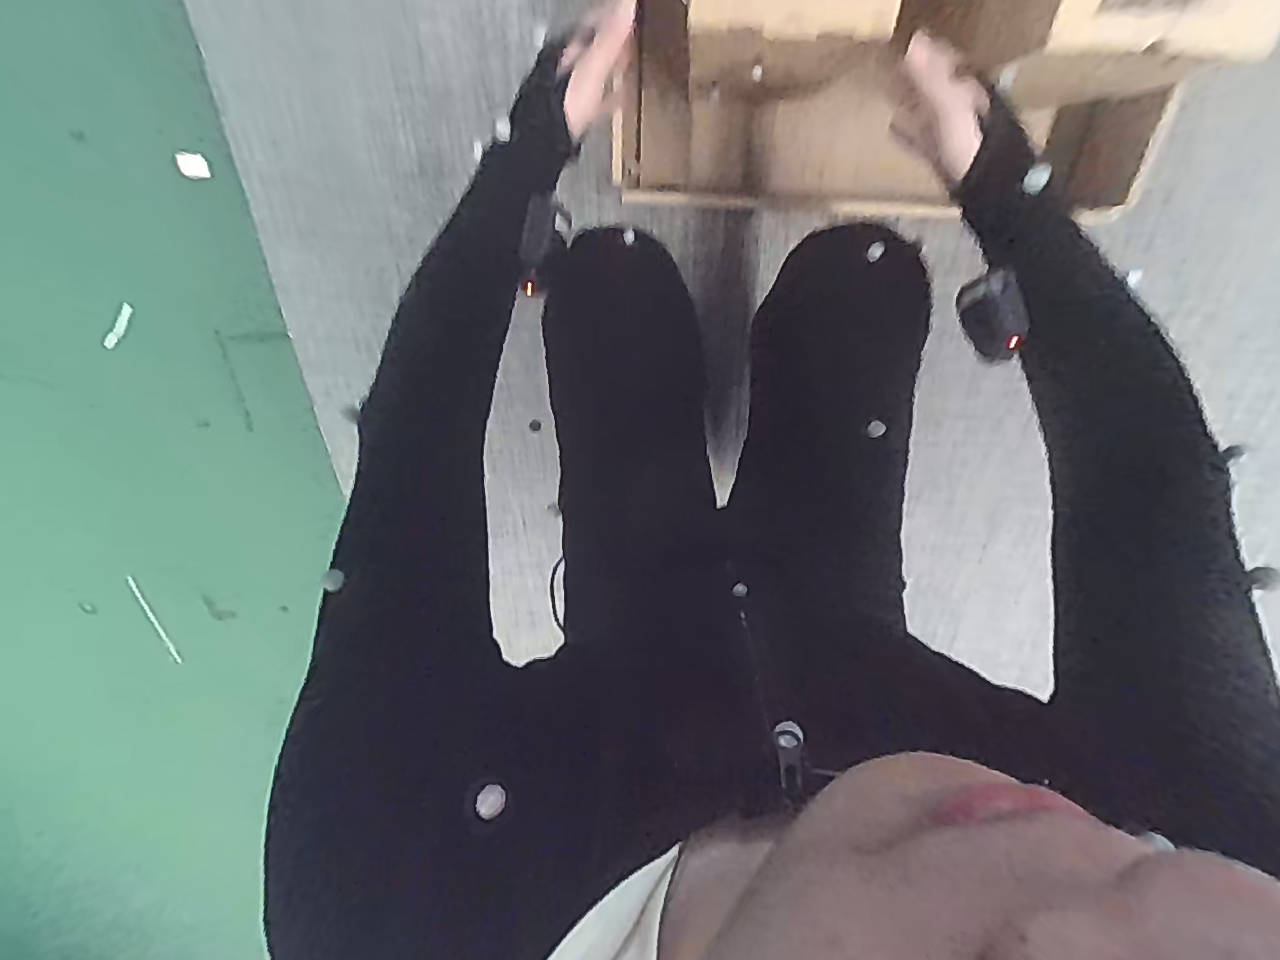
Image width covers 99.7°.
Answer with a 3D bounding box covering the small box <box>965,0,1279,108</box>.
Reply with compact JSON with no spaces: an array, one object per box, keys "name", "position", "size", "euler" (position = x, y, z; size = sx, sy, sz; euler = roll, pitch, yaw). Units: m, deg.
[{"name":"small box","position":[0.412,-0.436,0.461],"size":[0.168,0.176,0.179],"euler":[7,116,3]}]
